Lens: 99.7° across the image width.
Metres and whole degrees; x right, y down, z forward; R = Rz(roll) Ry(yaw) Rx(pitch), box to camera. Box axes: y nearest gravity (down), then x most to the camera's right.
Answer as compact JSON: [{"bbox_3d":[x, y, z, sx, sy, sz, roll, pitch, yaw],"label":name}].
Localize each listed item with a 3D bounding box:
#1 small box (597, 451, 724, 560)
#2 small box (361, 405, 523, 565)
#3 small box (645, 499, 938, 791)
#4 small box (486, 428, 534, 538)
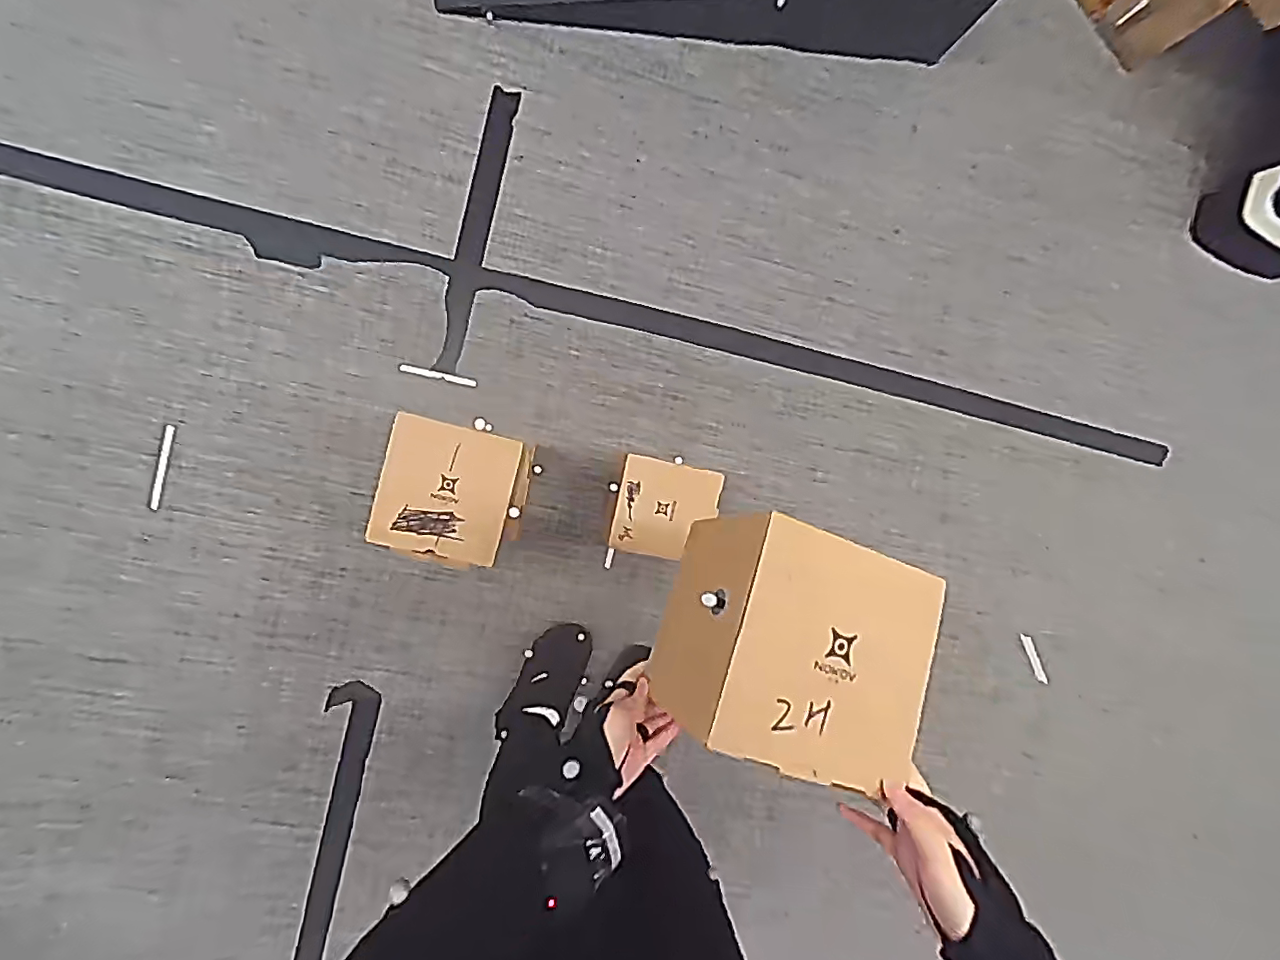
[{"bbox_3d":[0.029,0.042,0.987,0.179,0.176,0.168,13,92,-10],"label":"small box"},{"bbox_3d":[-0.267,0.005,0.772,0.168,0.176,0.179,14,90,-10],"label":"small box"},{"bbox_3d":[0.118,0.132,0.477,0.168,0.176,0.179,22,78,-11],"label":"small box"},{"bbox_3d":[-0.284,-0.008,0.934,0.179,0.176,0.168,12,92,-10],"label":"small box"}]
